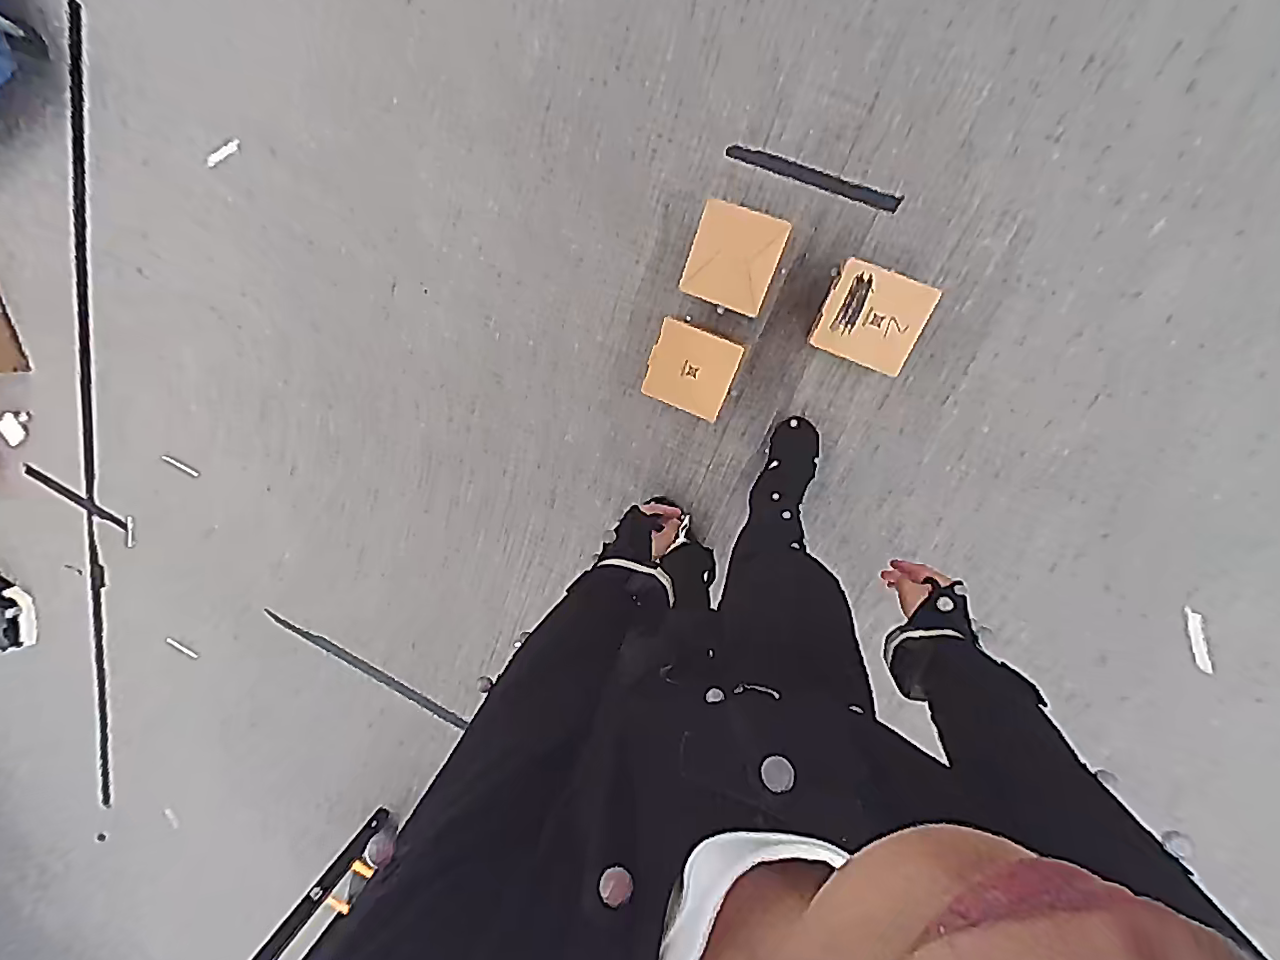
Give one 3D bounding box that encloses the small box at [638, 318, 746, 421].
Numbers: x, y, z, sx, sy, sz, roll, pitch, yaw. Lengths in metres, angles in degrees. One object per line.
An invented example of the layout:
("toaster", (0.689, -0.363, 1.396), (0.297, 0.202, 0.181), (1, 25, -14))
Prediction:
("small box", (0.121, -0.251, 1.187), (0.179, 0.176, 0.168), (24, 112, 9))
